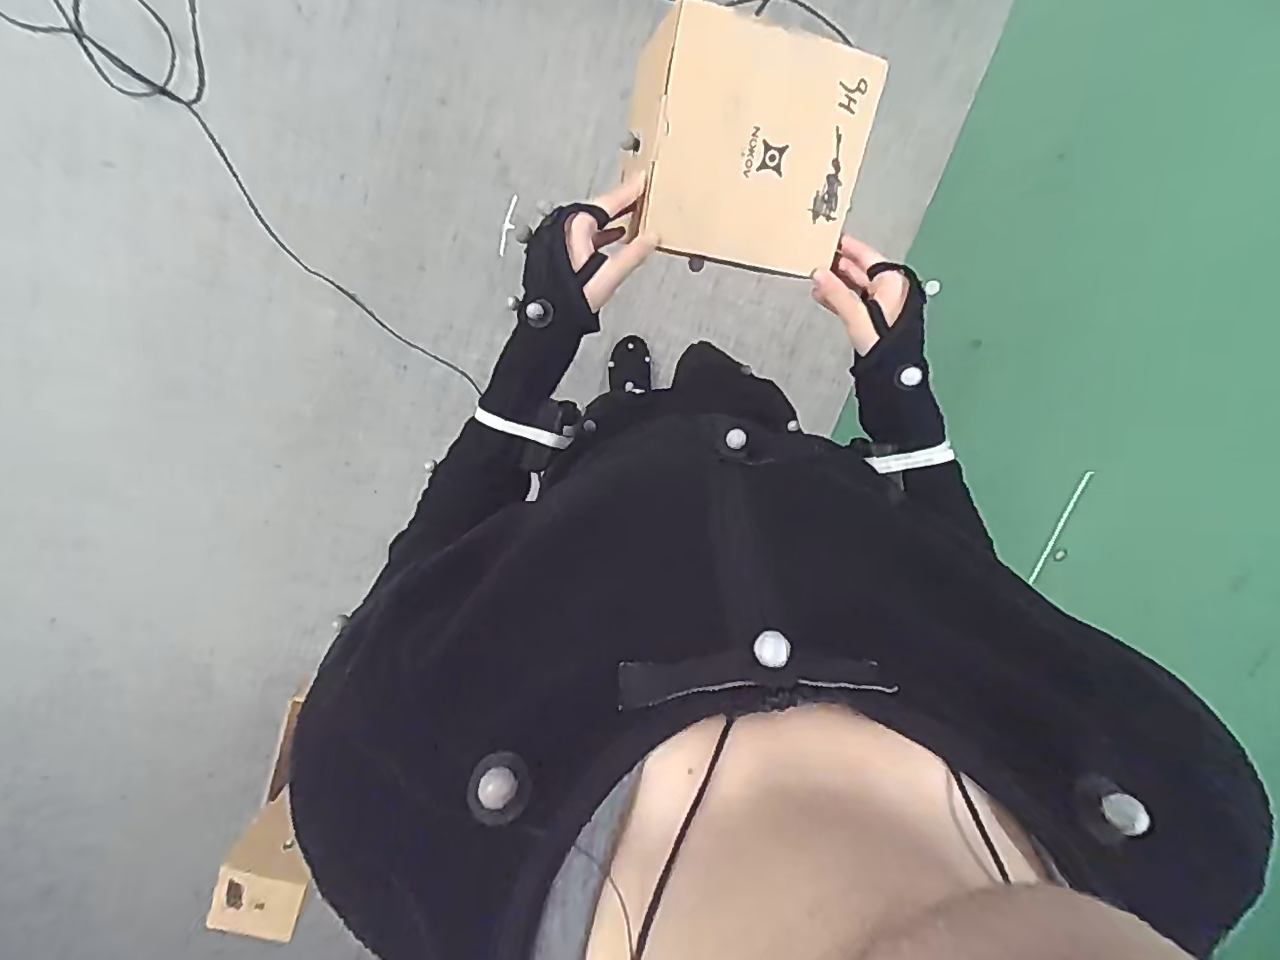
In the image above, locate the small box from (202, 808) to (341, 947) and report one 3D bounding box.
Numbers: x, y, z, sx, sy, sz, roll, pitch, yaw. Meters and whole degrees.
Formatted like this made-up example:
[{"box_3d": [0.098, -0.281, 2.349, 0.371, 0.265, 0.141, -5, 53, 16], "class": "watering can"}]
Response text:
[{"box_3d": [-0.805, 0.868, 1.195, 0.179, 0.176, 0.168, 20, 101, -8], "class": "small box"}]
